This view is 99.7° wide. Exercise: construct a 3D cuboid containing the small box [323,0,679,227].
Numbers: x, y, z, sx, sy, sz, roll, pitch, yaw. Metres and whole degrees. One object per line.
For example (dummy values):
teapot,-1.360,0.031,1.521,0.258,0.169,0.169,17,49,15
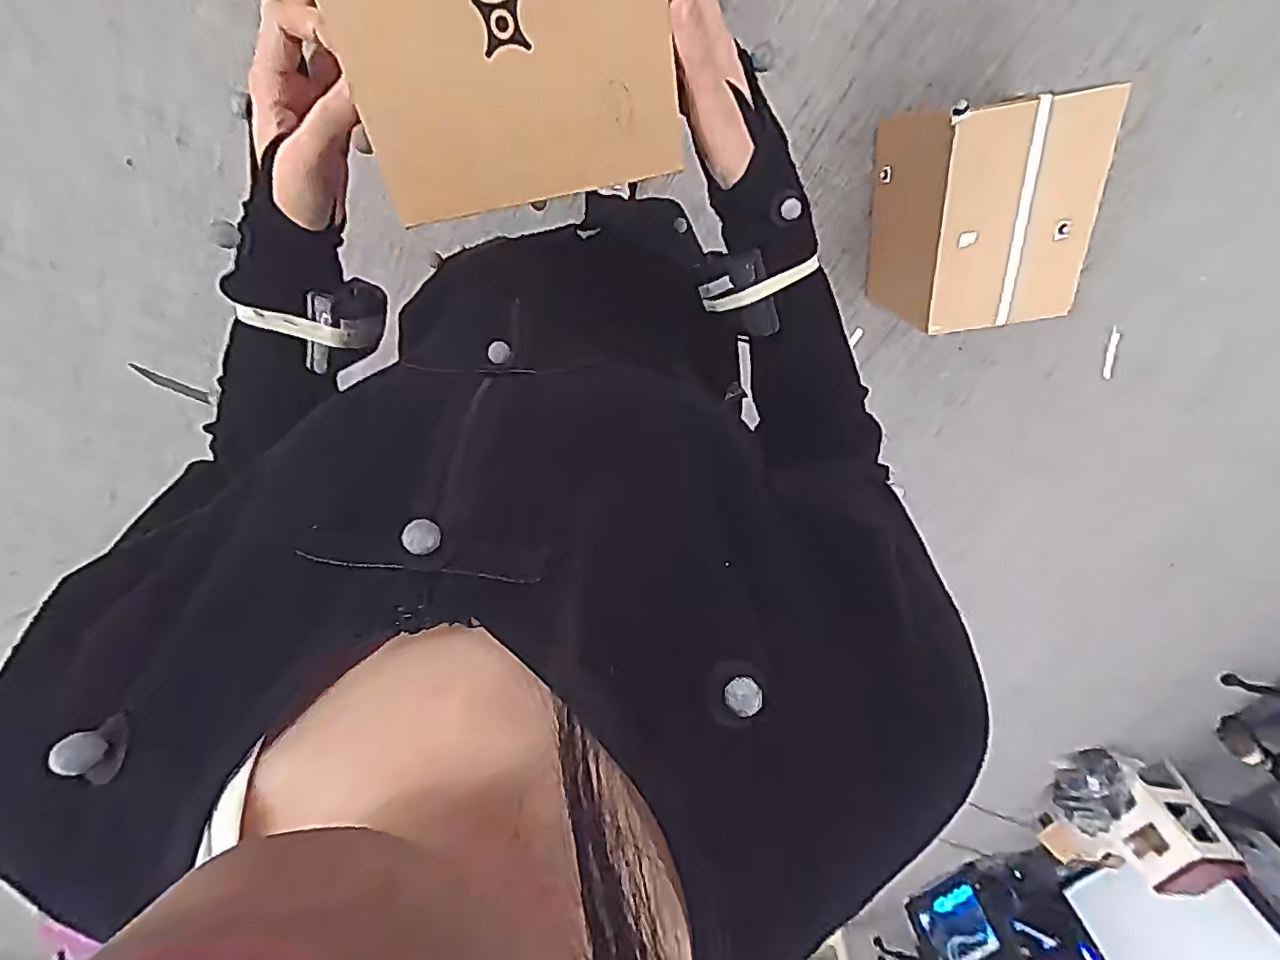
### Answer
small box,-0.080,-0.276,0.328,0.168,0.176,0.179,-13,126,-3
